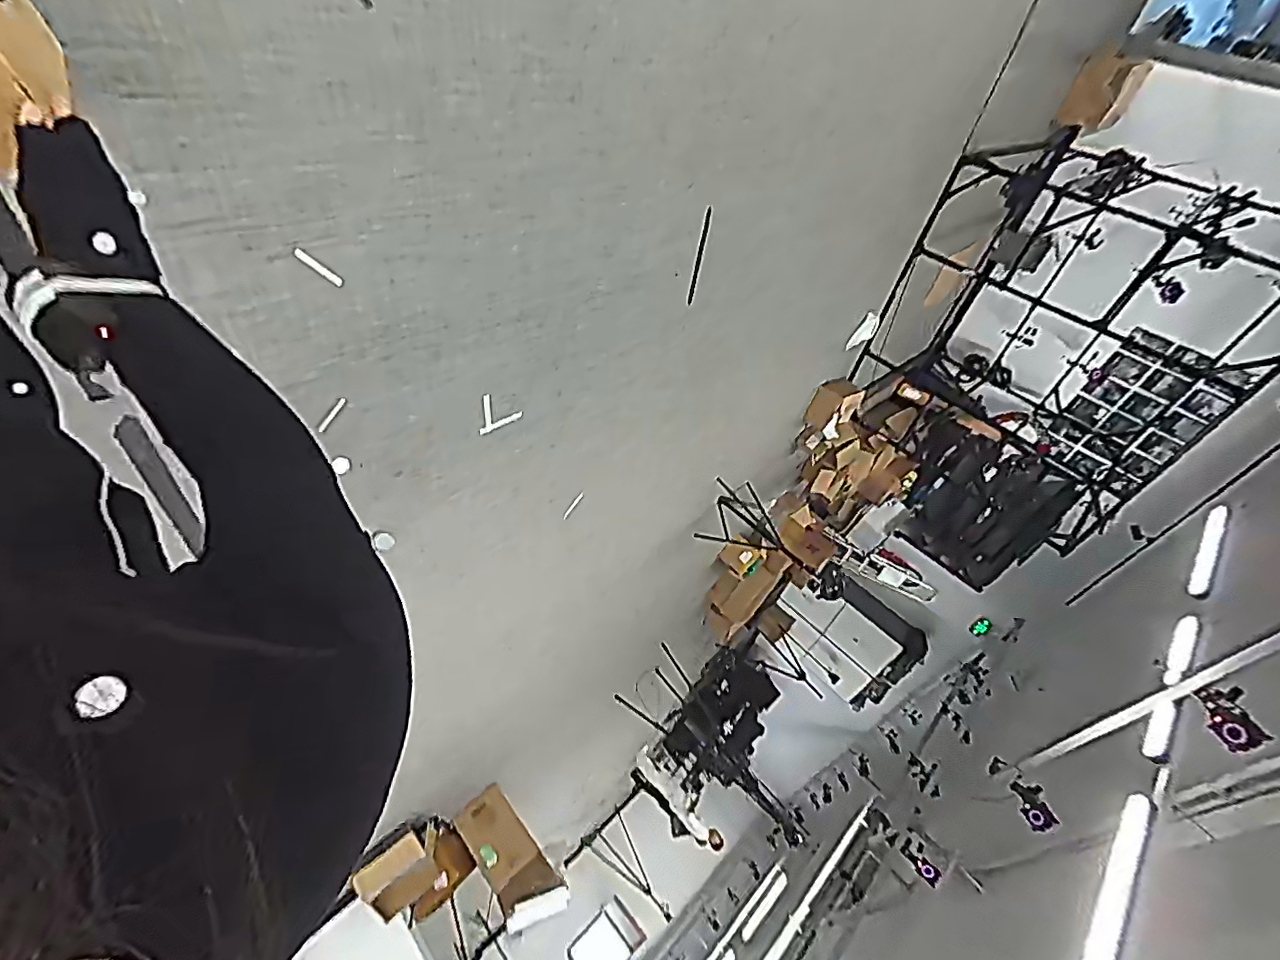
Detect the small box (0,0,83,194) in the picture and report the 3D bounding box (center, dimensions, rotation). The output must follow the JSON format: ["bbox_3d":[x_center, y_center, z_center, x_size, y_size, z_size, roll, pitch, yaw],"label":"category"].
[{"bbox_3d":[-0.559,-0.320,0.378,0.179,0.176,0.168,-24,159,-18],"label":"small box"}]
